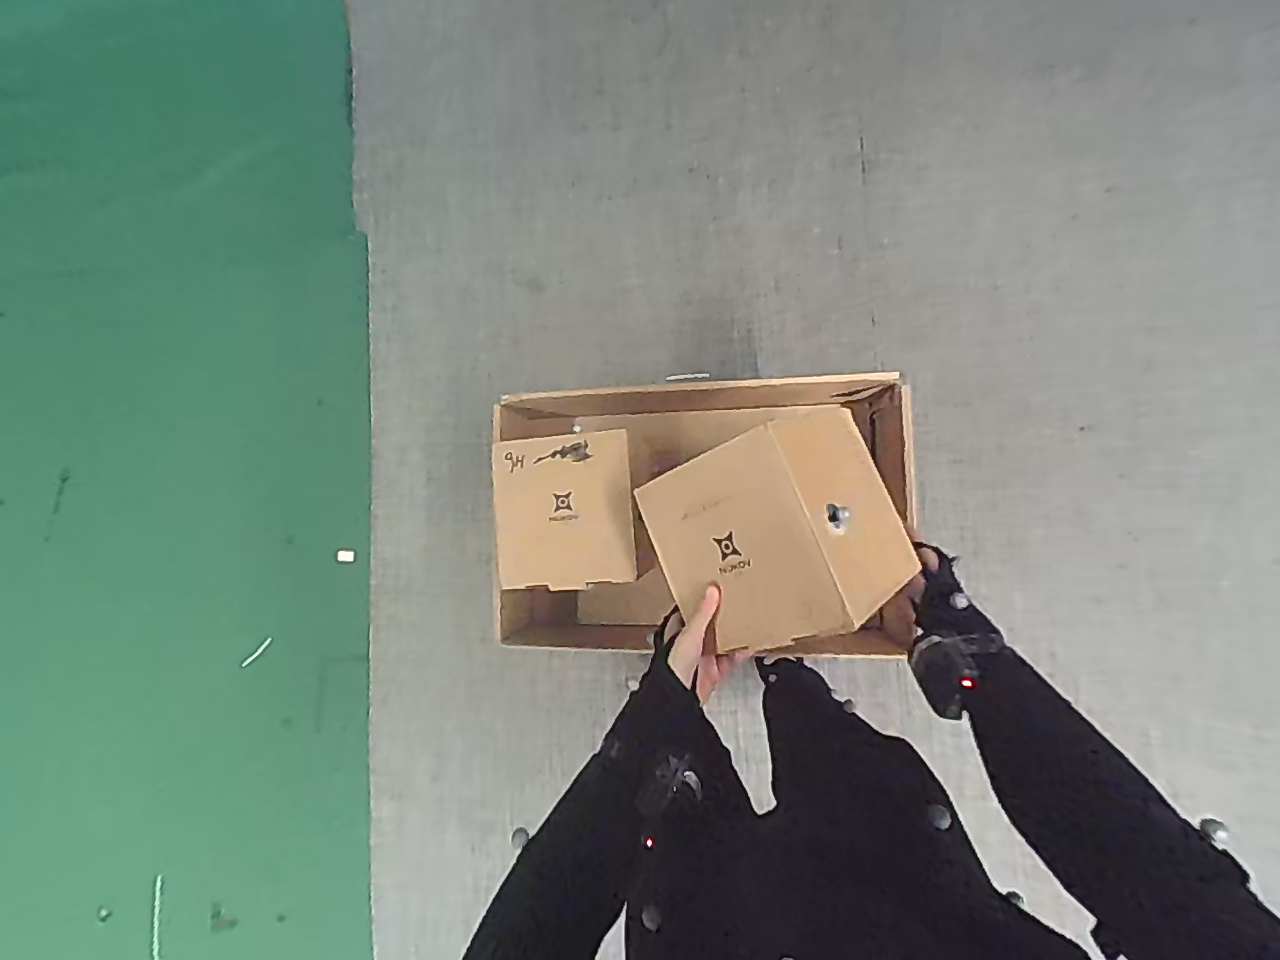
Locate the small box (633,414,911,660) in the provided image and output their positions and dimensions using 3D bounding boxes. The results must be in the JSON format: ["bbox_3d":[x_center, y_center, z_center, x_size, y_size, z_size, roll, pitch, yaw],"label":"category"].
[{"bbox_3d":[0.129,0.050,0.522,0.168,0.176,0.179,-28,81,43],"label":"small box"}]

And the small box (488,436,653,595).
[{"bbox_3d":[-0.080,0.044,0.697,0.168,0.176,0.179,-5,87,9],"label":"small box"}]
